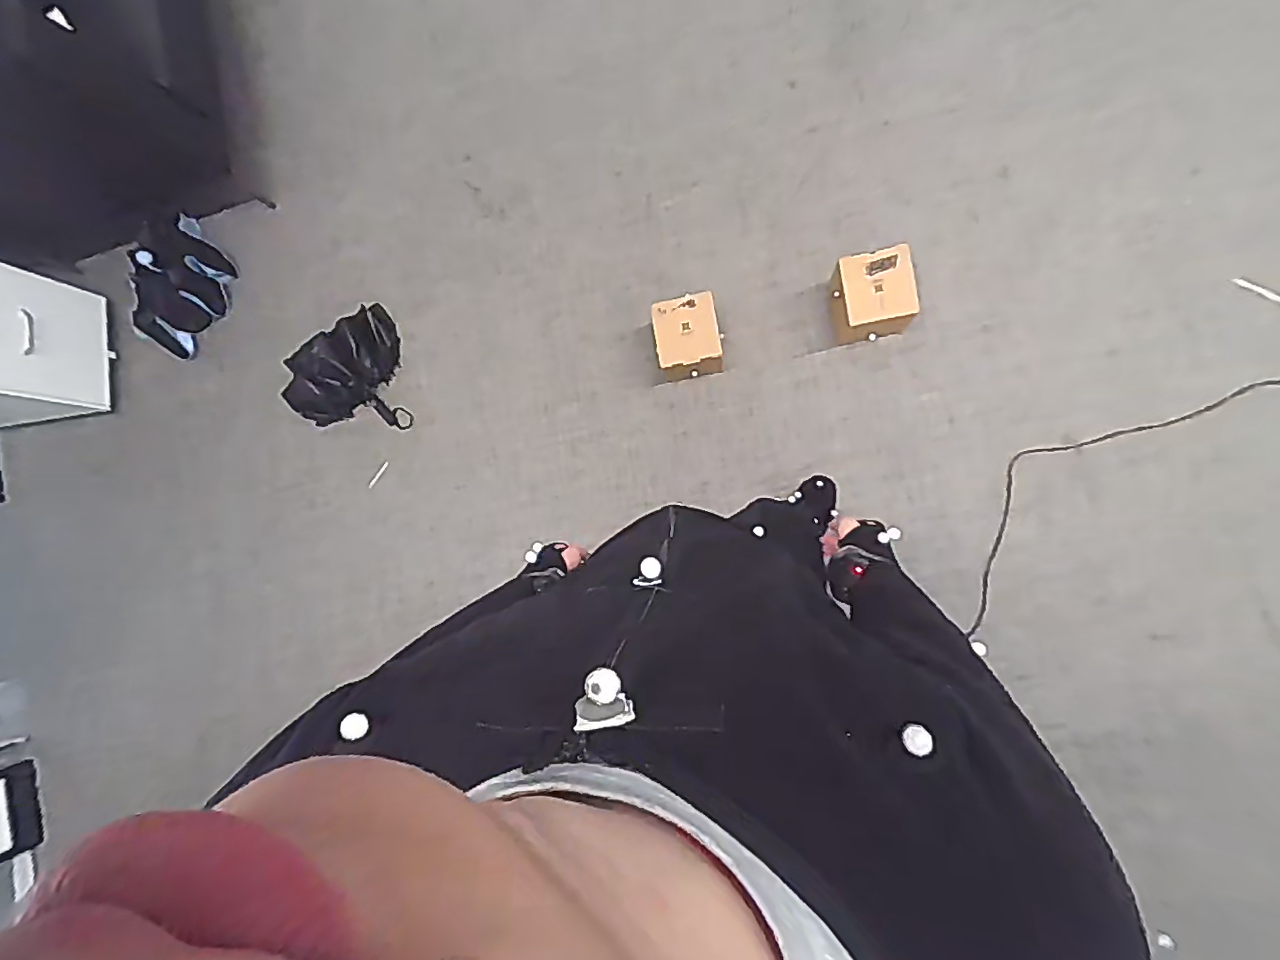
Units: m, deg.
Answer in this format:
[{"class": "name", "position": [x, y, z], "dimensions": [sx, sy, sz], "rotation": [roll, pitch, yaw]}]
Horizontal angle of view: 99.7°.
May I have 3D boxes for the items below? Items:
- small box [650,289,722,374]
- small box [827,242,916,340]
[{"class": "small box", "position": [0.132, -0.399, 1.493], "dimensions": [0.168, 0.176, 0.179], "rotation": [-9, 87, 10]}, {"class": "small box", "position": [0.593, -0.484, 1.407], "dimensions": [0.168, 0.176, 0.179], "rotation": [-9, 88, 11]}]
